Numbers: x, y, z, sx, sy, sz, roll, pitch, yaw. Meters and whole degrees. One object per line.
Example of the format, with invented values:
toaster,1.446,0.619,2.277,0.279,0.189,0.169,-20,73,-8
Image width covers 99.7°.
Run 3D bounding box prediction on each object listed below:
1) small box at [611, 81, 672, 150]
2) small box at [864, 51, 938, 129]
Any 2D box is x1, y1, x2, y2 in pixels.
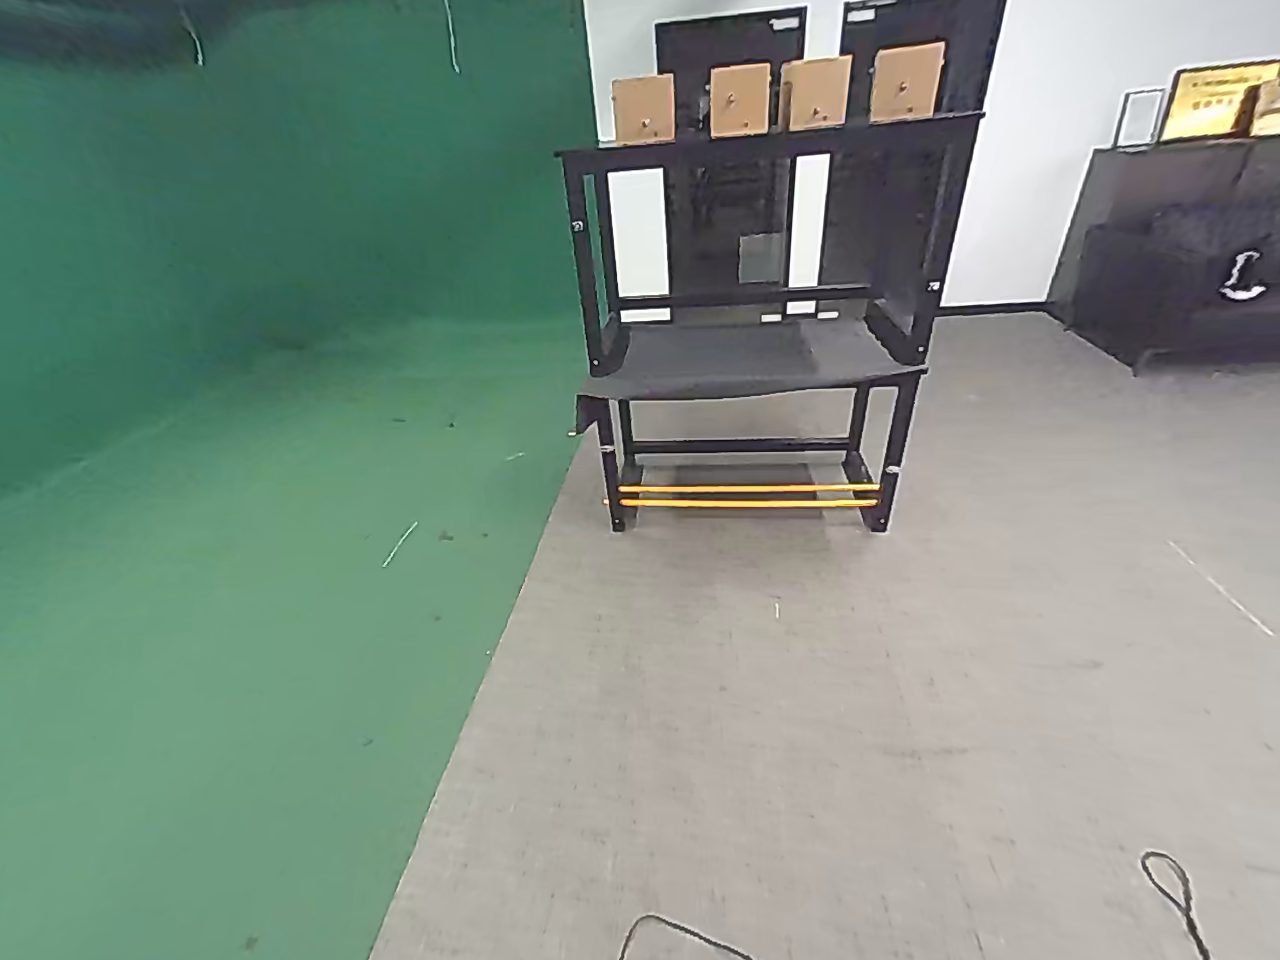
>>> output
small box,0.004,-1.146,1.707,0.168,0.176,0.179,-9,35,-6
small box,0.763,-1.144,1.595,0.168,0.176,0.179,6,35,16
